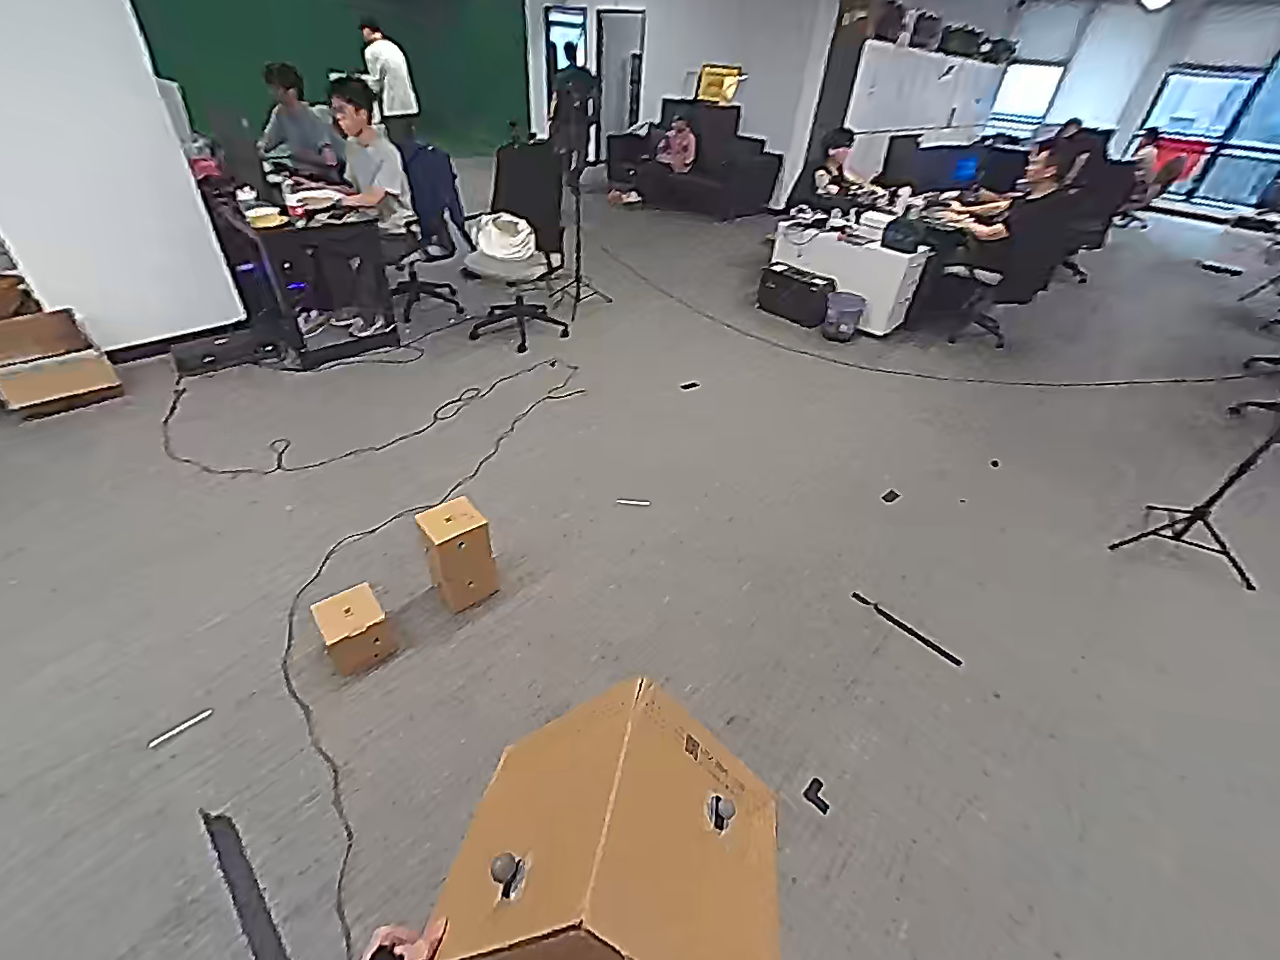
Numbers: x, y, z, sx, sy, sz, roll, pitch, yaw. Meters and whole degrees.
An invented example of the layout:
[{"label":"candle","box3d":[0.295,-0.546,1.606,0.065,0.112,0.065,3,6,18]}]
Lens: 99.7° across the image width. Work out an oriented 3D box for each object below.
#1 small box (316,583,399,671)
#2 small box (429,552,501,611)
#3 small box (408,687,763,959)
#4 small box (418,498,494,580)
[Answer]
[{"label":"small box","box3d":[-0.862,0.458,1.660,0.168,0.176,0.179,-23,46,-32]},{"label":"small box","box3d":[-0.598,0.319,1.867,0.179,0.176,0.168,-27,48,-34]},{"label":"small box","box3d":[-0.022,0.292,0.397,0.168,0.179,0.176,46,26,-13]},{"label":"small box","box3d":[-0.592,0.193,1.759,0.179,0.176,0.168,-24,47,-33]}]
